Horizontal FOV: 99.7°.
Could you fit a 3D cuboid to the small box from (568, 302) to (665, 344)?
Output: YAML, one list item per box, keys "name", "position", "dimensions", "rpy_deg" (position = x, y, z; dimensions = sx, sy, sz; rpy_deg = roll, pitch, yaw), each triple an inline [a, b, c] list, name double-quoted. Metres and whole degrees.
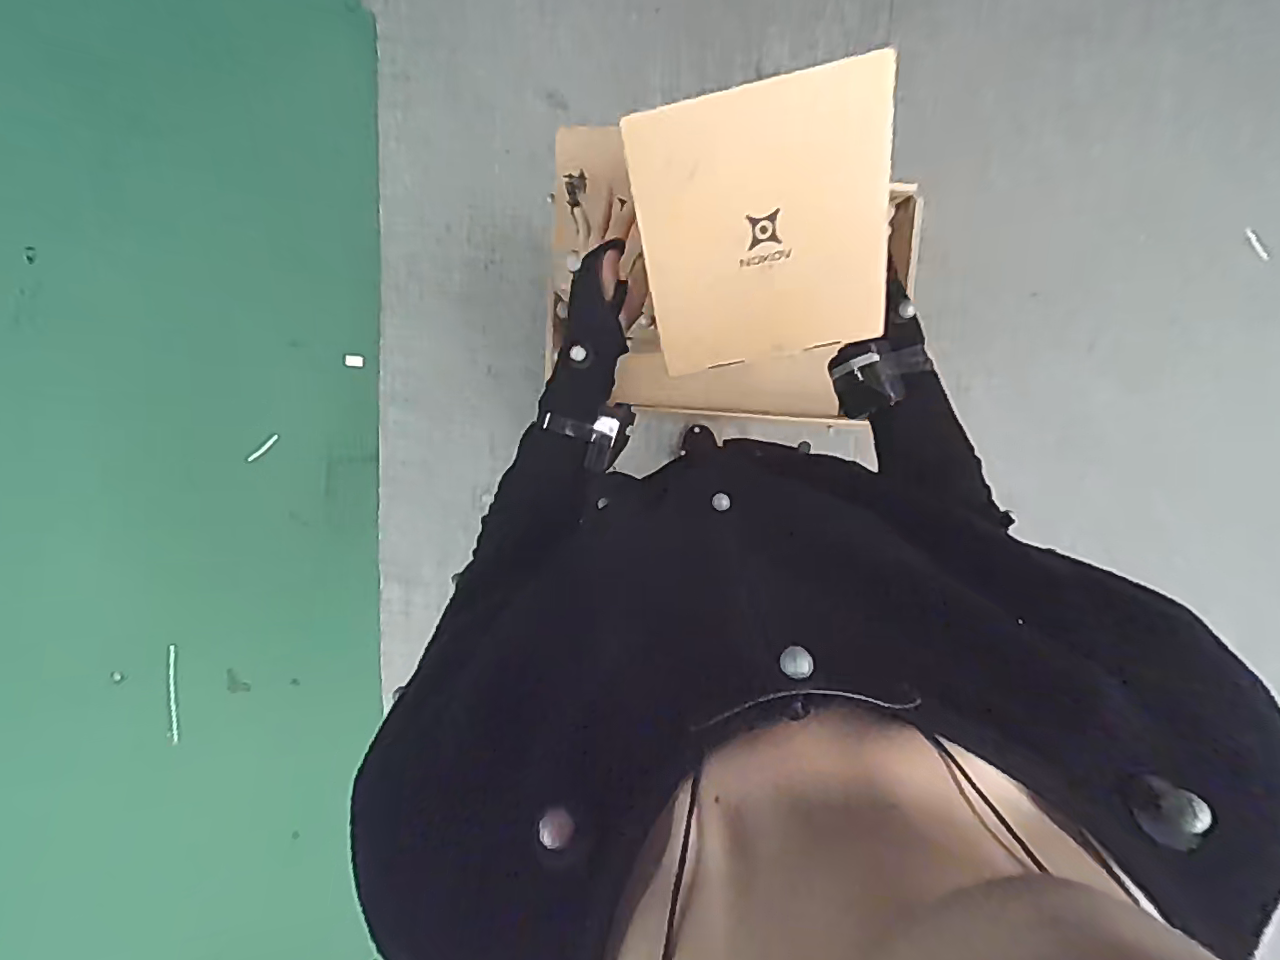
- name: "small box"
  position: [-0.006, -0.302, 0.802]
  dimensions: [0.168, 0.176, 0.179]
  rpy_deg: [4, 95, 3]

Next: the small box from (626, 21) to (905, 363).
- name: "small box"
  position: [0.085, -0.214, 0.421]
  dimensions: [0.168, 0.176, 0.179]
  rpy_deg: [-9, 123, 7]

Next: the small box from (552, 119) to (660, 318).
- name: "small box"
  position: [0.000, -0.293, 0.639]
  dimensions: [0.179, 0.176, 0.168]
  rpy_deg: [2, 95, 3]
